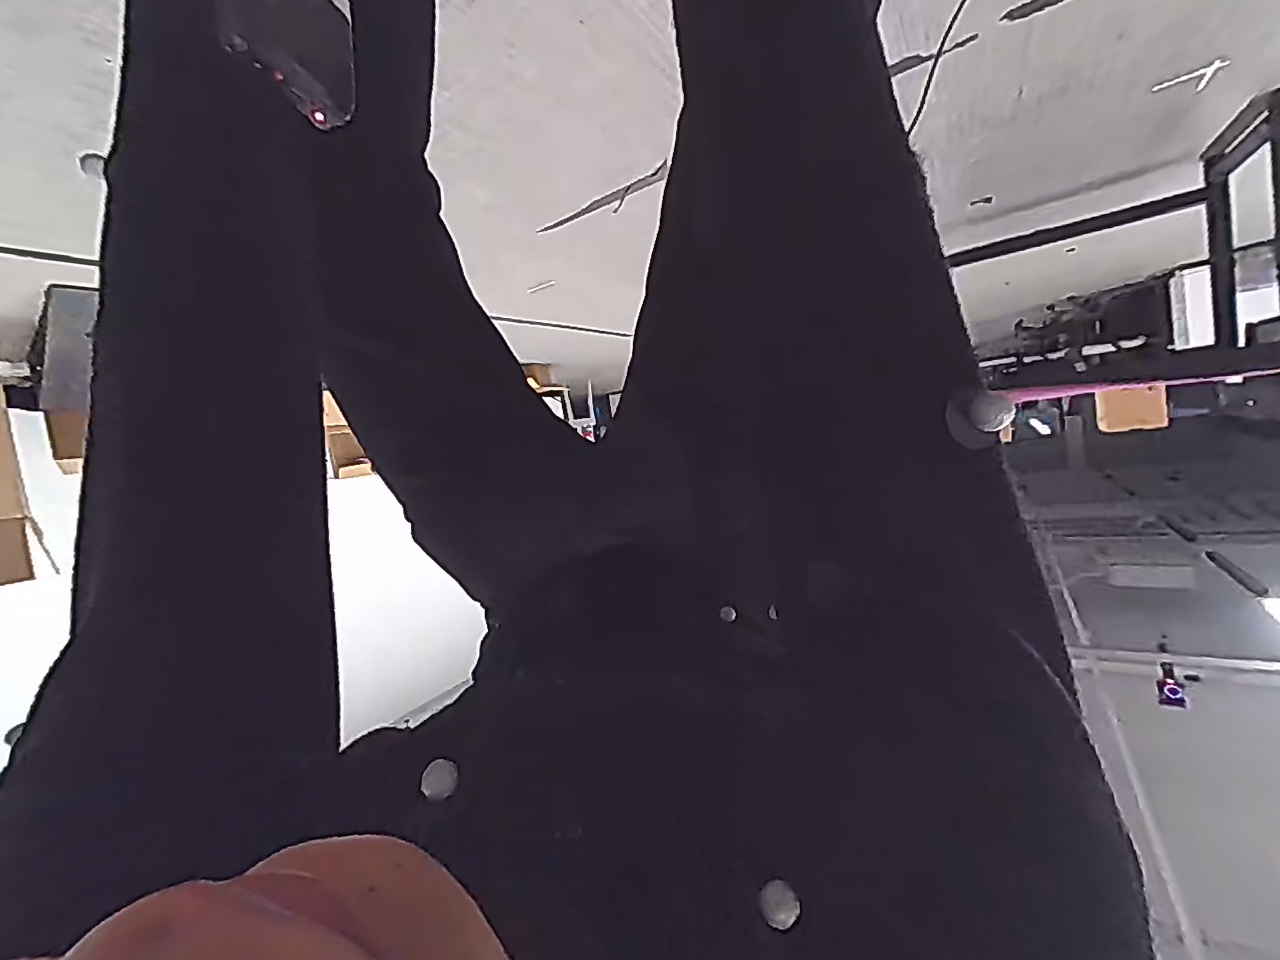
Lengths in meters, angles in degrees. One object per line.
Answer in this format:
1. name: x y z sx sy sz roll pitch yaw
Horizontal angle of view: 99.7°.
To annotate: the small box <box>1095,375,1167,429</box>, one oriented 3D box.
1. small box: 1.782 -0.286 1.969 0.168 0.176 0.179 -5 -174 33
